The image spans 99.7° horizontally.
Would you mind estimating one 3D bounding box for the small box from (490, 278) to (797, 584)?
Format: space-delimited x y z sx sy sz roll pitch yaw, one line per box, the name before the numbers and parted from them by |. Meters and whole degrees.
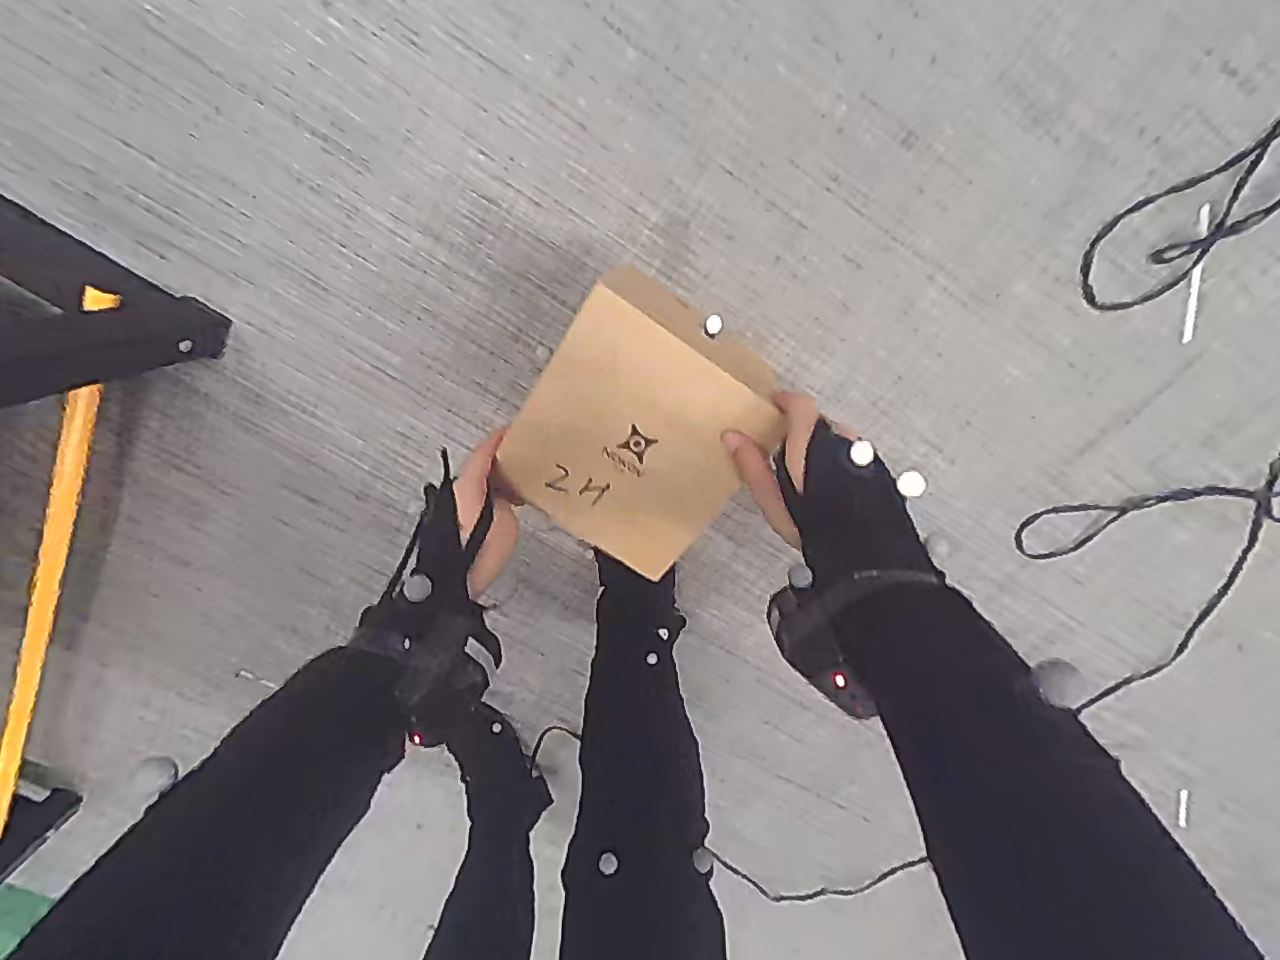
small box | 0.004 -0.053 0.468 0.168 0.176 0.179 34 114 -9
